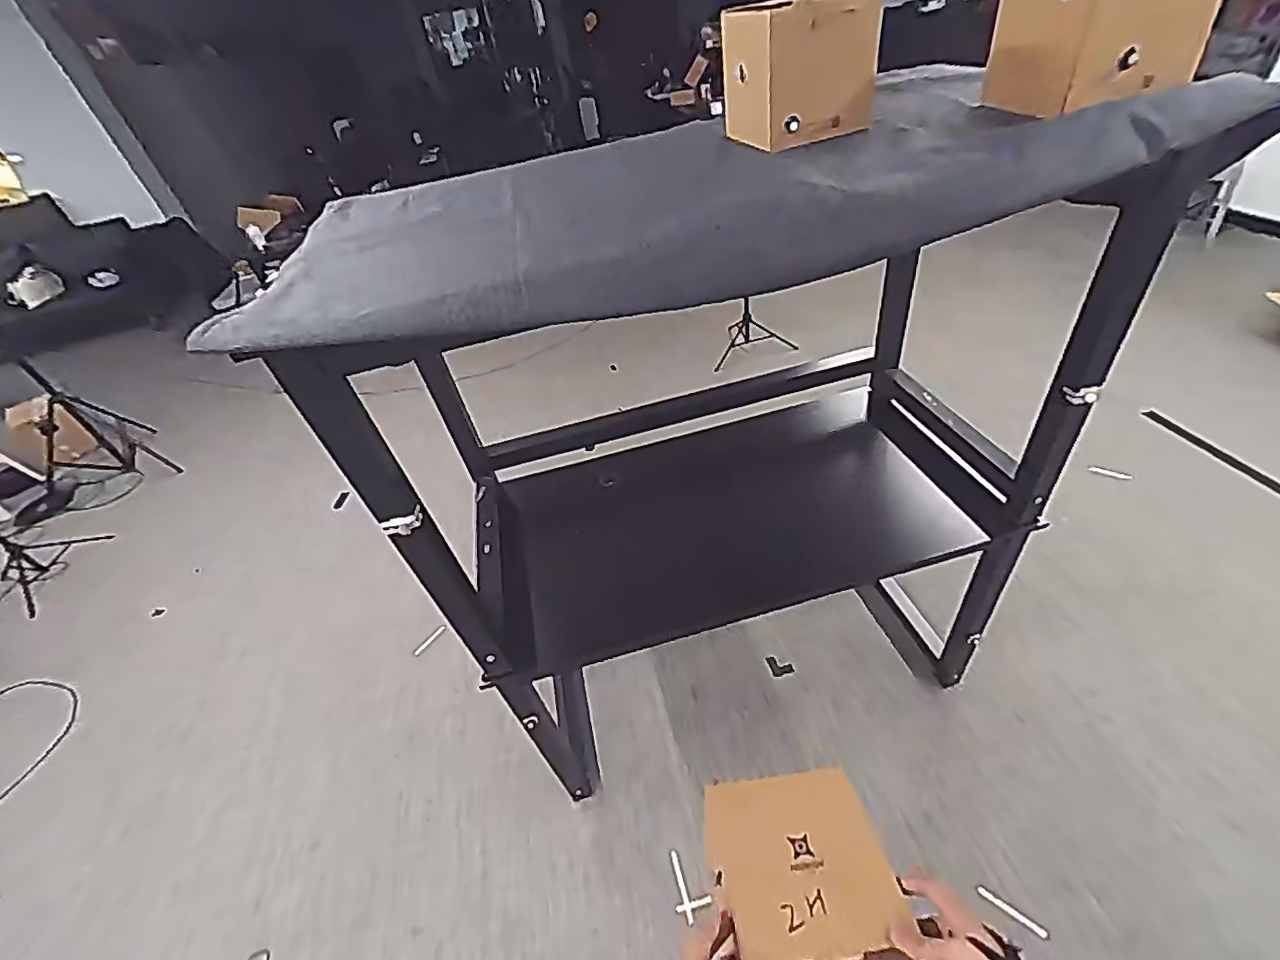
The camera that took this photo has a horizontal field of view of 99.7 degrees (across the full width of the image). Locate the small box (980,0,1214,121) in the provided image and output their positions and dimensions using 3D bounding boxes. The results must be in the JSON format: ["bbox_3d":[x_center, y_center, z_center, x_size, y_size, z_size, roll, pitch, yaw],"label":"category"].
[{"bbox_3d":[0.585,-0.587,0.705,0.168,0.176,0.179,-13,41,0],"label":"small box"}]

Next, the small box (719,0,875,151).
[{"bbox_3d":[0.232,-0.618,0.822,0.168,0.176,0.179,-17,41,-6],"label":"small box"}]

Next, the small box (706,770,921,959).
[{"bbox_3d":[0.169,0.459,0.595,0.168,0.176,0.179,-5,28,-5],"label":"small box"}]
